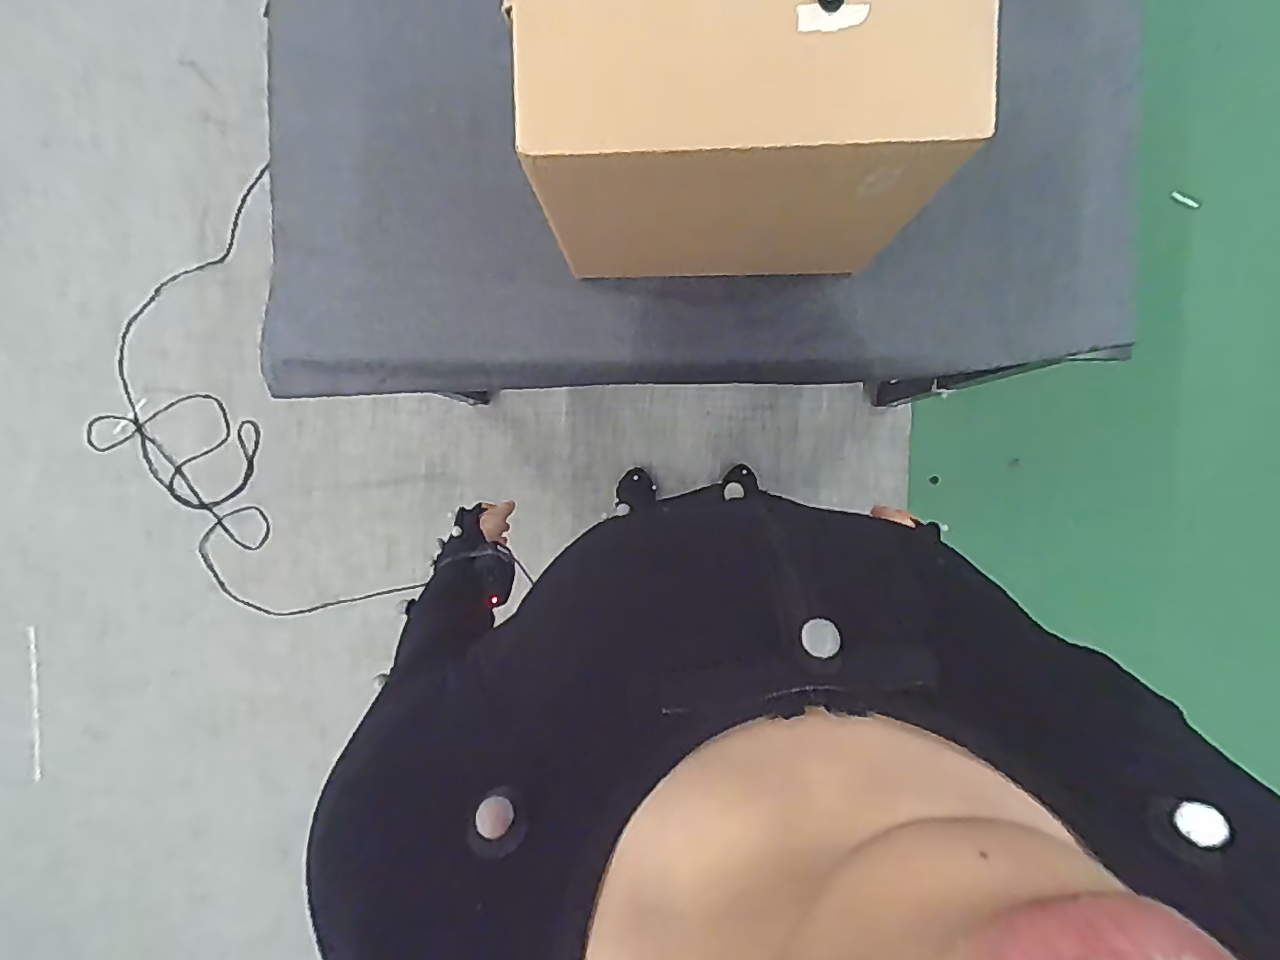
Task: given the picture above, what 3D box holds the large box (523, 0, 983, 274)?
[{"bbox_3d":[0.097,-0.450,0.618,0.408,0.320,0.320,-1,92,2],"label":"large box"}]
